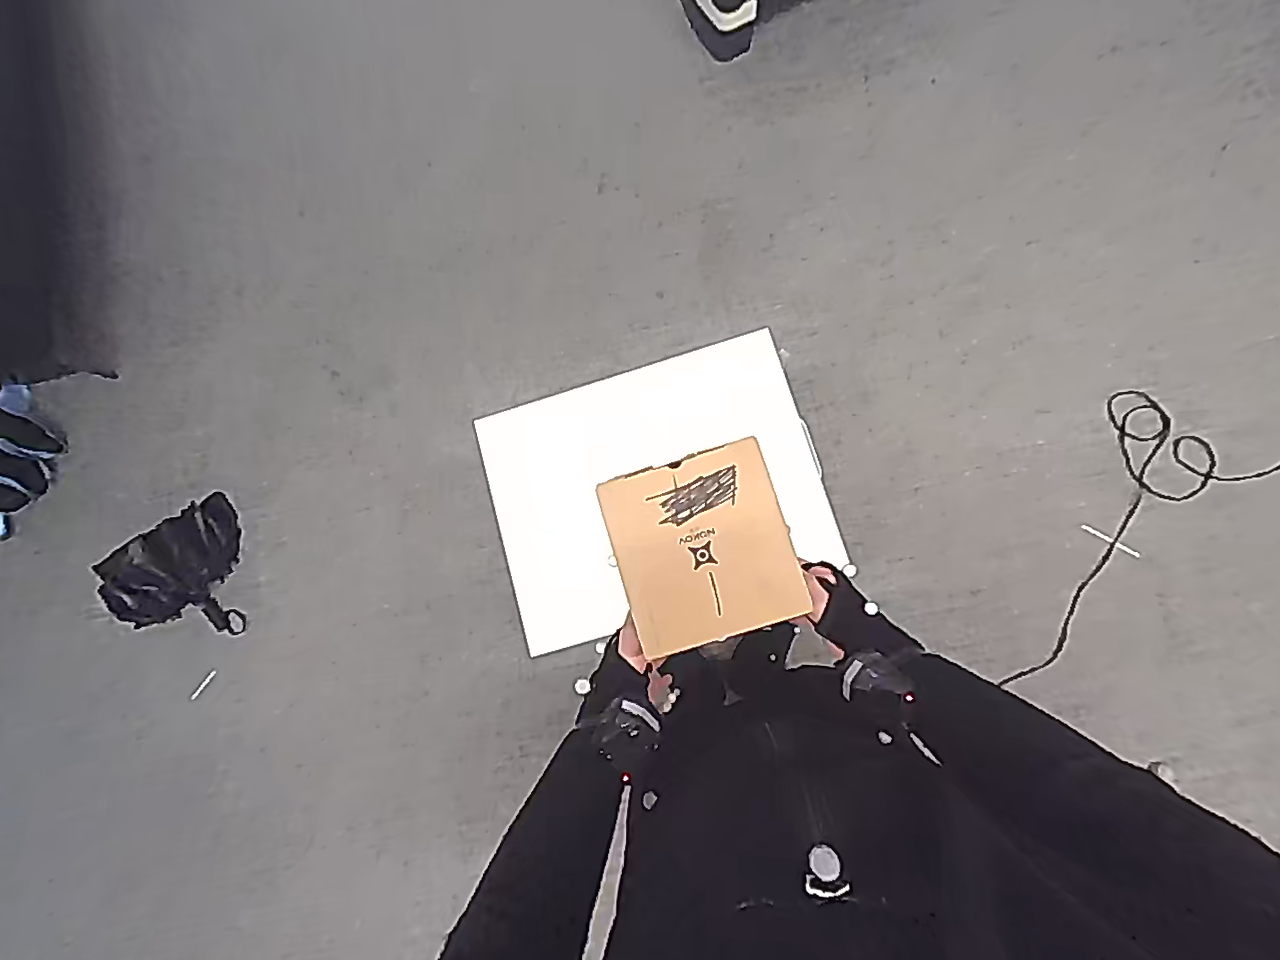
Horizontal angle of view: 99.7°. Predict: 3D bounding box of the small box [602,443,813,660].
[{"bbox_3d":[0.067,0.079,0.595,0.168,0.176,0.179,-17,80,3],"label":"small box"}]
